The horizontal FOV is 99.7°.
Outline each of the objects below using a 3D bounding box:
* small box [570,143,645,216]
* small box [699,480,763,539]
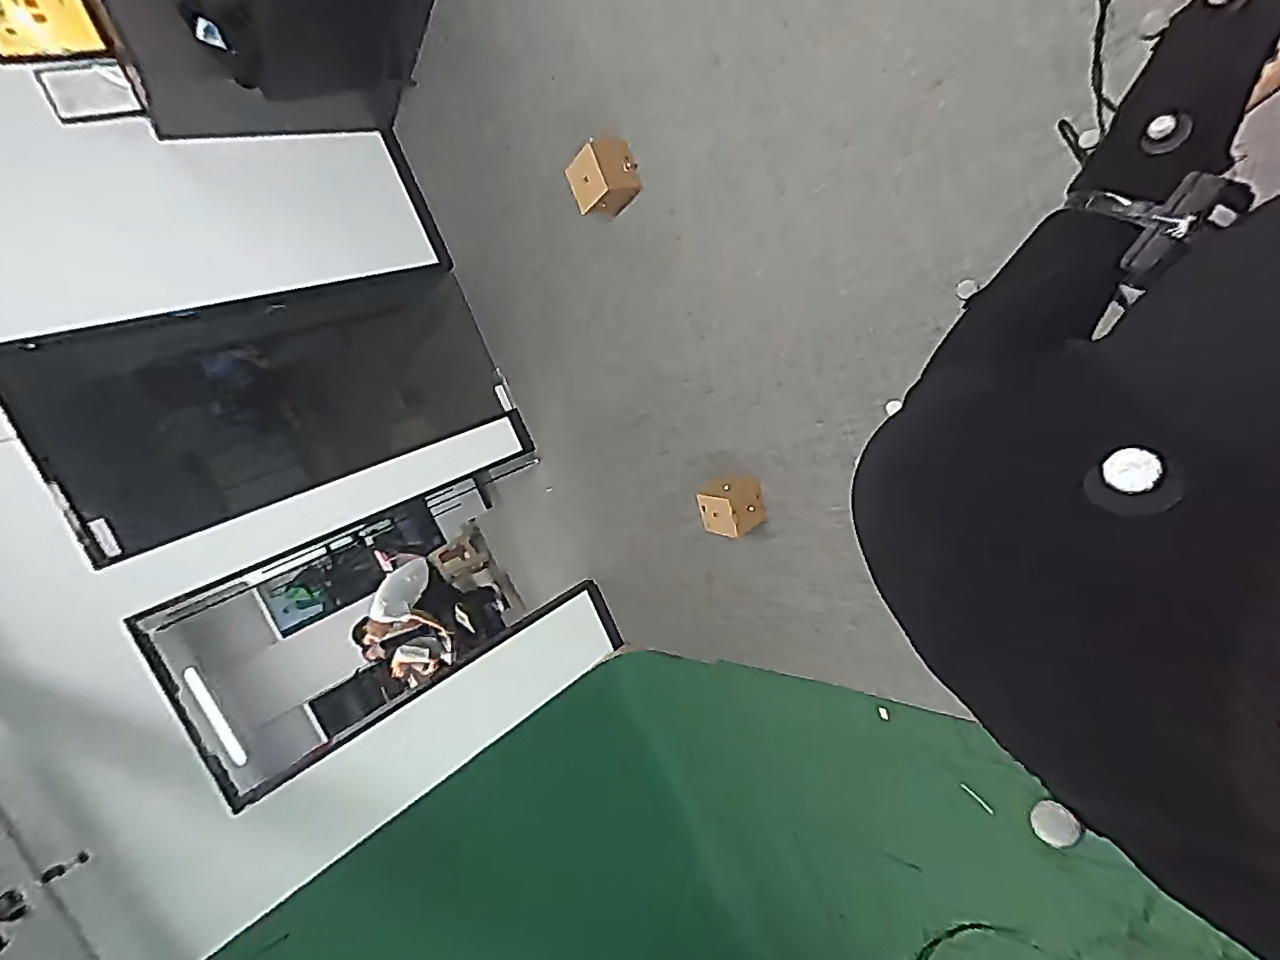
[{"bbox_3d":[-0.114,-1.071,1.929,0.179,0.176,0.168,-11,105,54],"label":"small box"},{"bbox_3d":[0.362,0.108,2.104,0.179,0.176,0.168,8,119,50],"label":"small box"}]
